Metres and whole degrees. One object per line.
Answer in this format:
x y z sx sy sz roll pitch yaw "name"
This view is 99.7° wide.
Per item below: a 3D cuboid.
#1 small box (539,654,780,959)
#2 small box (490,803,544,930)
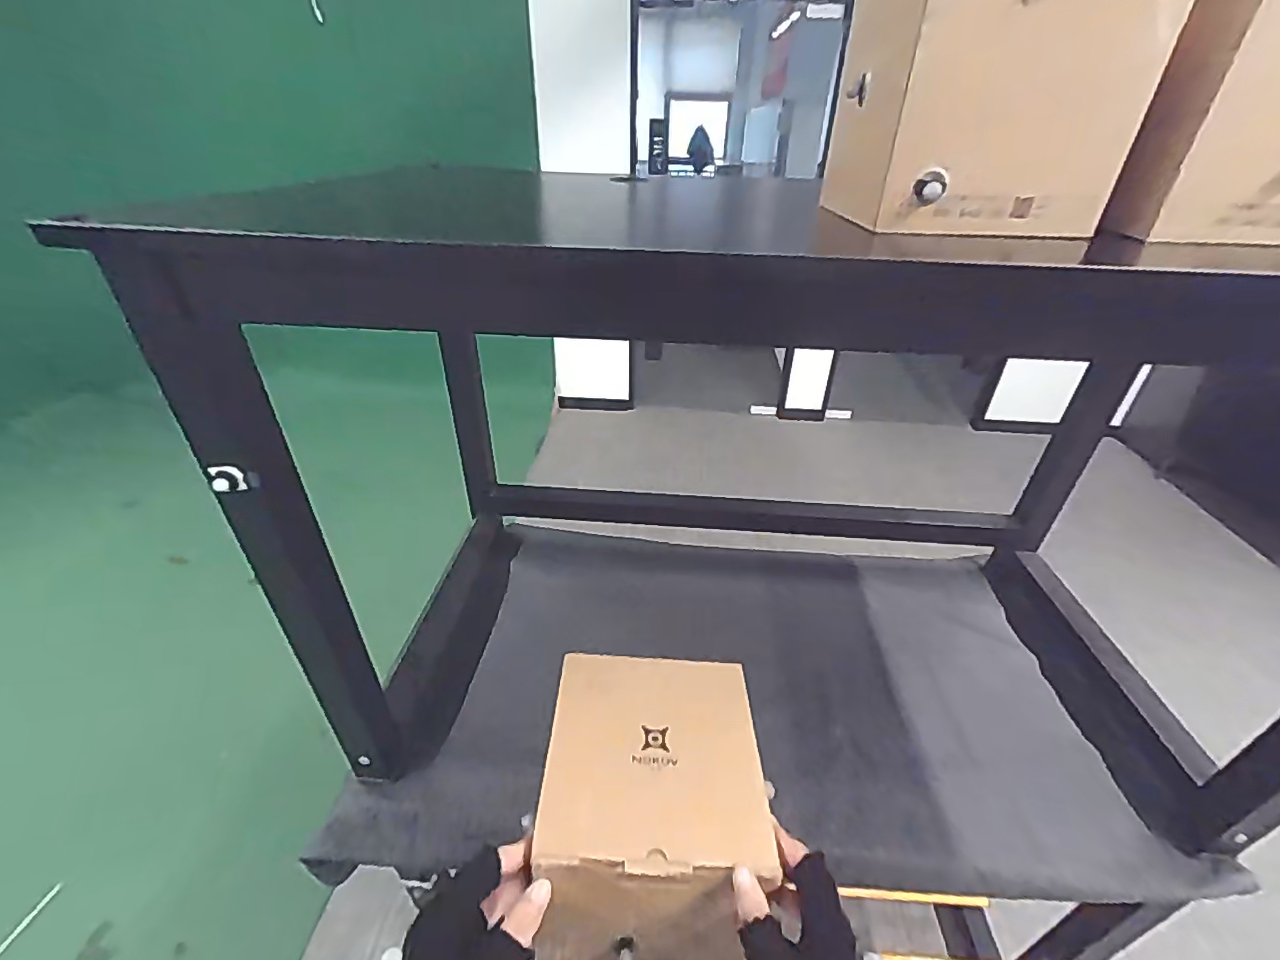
0.007 0.280 0.467 0.168 0.176 0.179 4 29 -2 "small box"
-0.210 0.835 1.167 0.168 0.176 0.179 3 35 3 "small box"
